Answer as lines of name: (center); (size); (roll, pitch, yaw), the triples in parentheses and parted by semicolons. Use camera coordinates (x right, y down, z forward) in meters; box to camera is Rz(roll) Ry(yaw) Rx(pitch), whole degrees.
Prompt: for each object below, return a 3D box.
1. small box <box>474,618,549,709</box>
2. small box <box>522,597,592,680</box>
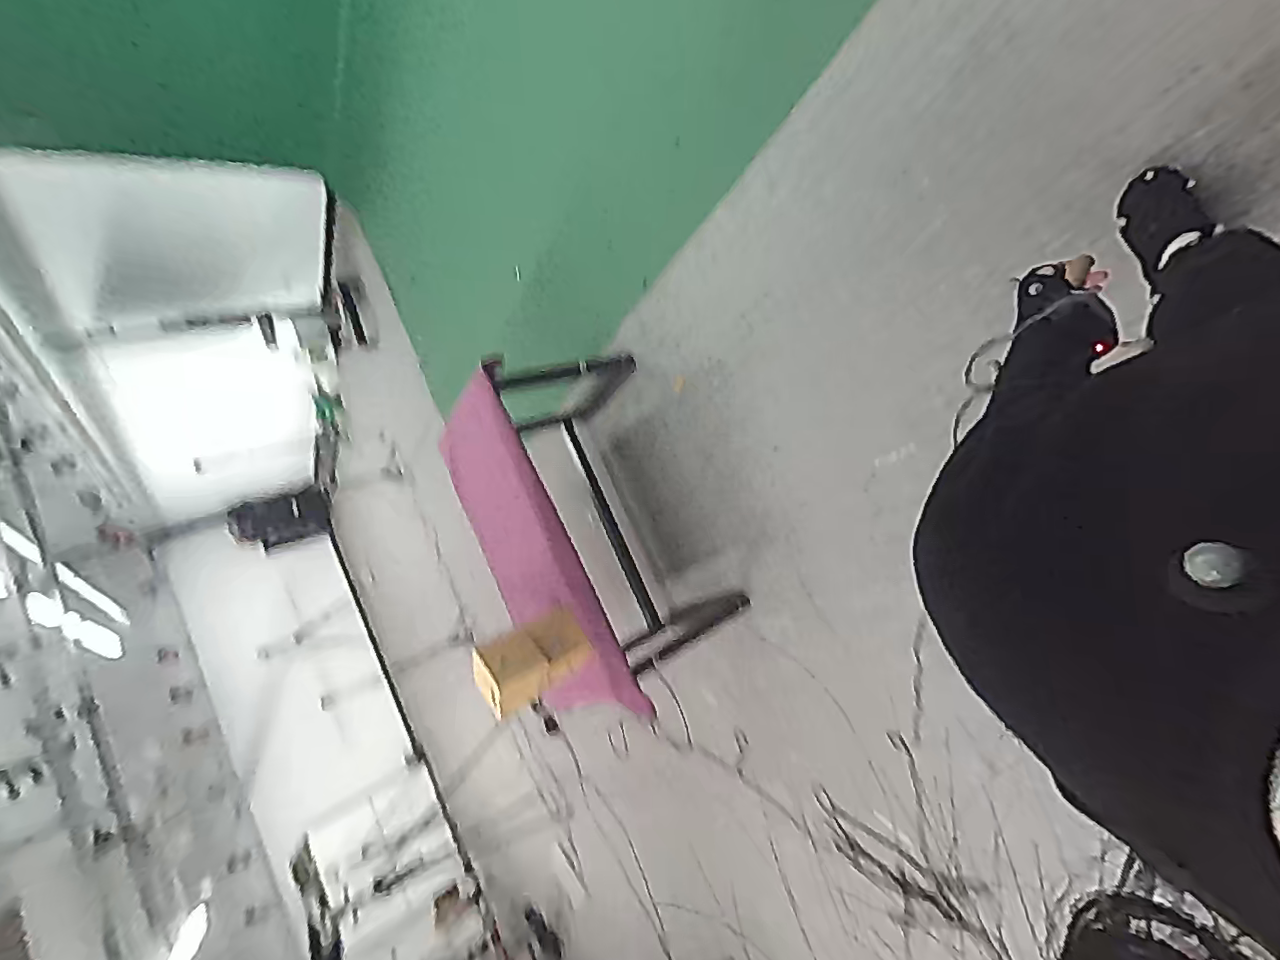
small box: (-0.399, 0.566, 1.692); (0.179, 0.176, 0.168); (40, 134, 35)
small box: (-0.284, 0.522, 1.803); (0.179, 0.176, 0.168); (48, 138, 26)
